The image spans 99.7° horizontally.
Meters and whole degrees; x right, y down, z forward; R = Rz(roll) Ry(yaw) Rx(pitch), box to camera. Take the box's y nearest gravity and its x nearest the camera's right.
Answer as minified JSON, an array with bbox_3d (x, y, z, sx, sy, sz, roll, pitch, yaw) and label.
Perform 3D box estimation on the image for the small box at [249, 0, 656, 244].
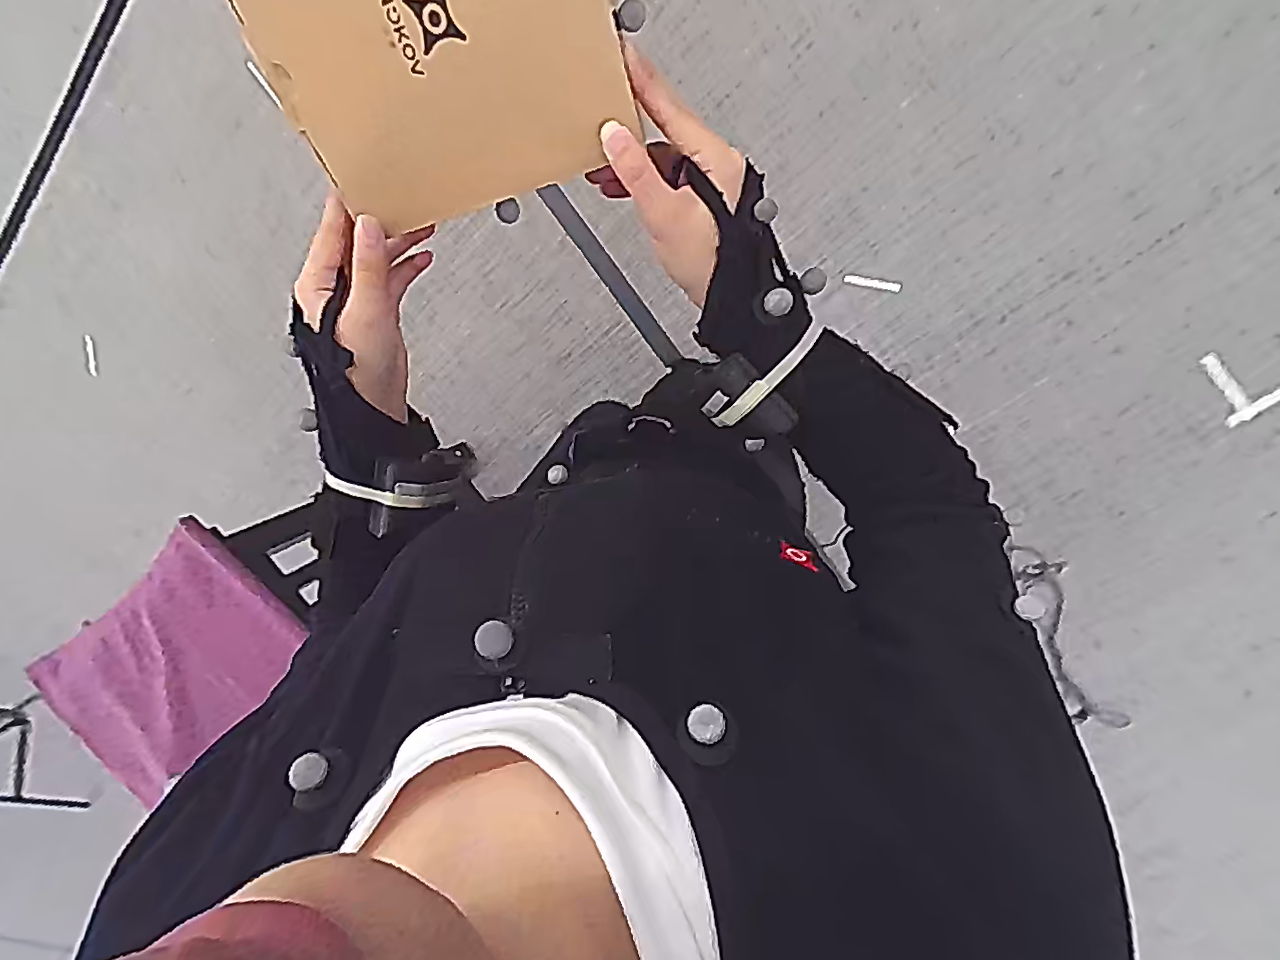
[{"bbox_3d":[-0.093,-0.269,0.327,0.179,0.176,0.168,-11,127,11],"label":"small box"}]
